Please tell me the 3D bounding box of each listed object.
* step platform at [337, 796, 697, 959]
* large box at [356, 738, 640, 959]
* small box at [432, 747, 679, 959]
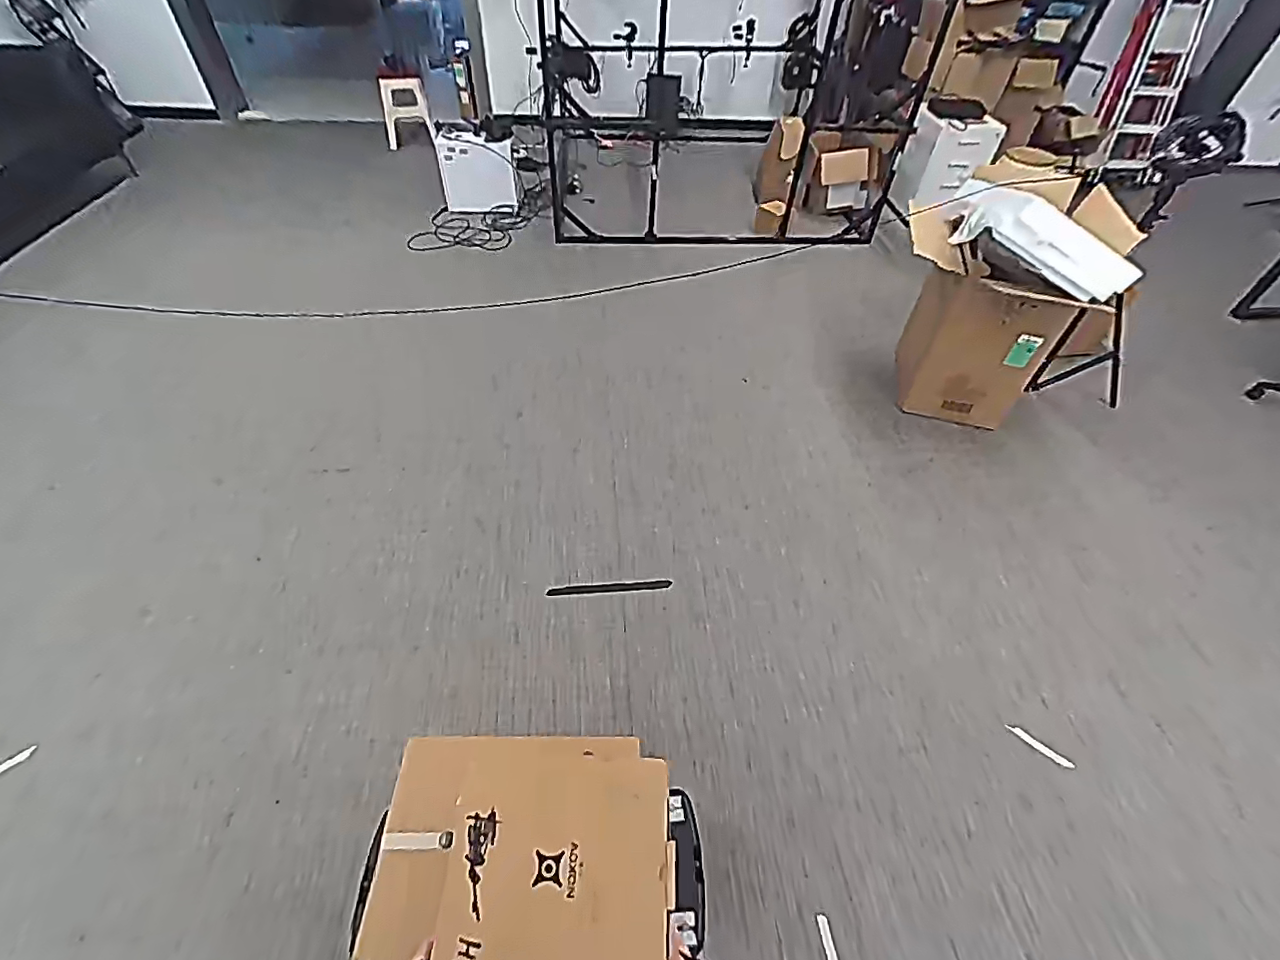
[{"bbox_3d":[-0.225,0.832,1.108,0.684,0.204,0.286,2,47,0],"label":"step platform"},{"bbox_3d":[-0.196,0.662,0.941,0.408,0.320,0.320,0,47,-1],"label":"large box"},{"bbox_3d":[-0.066,0.344,0.477,0.179,0.176,0.168,5,54,-4],"label":"small box"}]
